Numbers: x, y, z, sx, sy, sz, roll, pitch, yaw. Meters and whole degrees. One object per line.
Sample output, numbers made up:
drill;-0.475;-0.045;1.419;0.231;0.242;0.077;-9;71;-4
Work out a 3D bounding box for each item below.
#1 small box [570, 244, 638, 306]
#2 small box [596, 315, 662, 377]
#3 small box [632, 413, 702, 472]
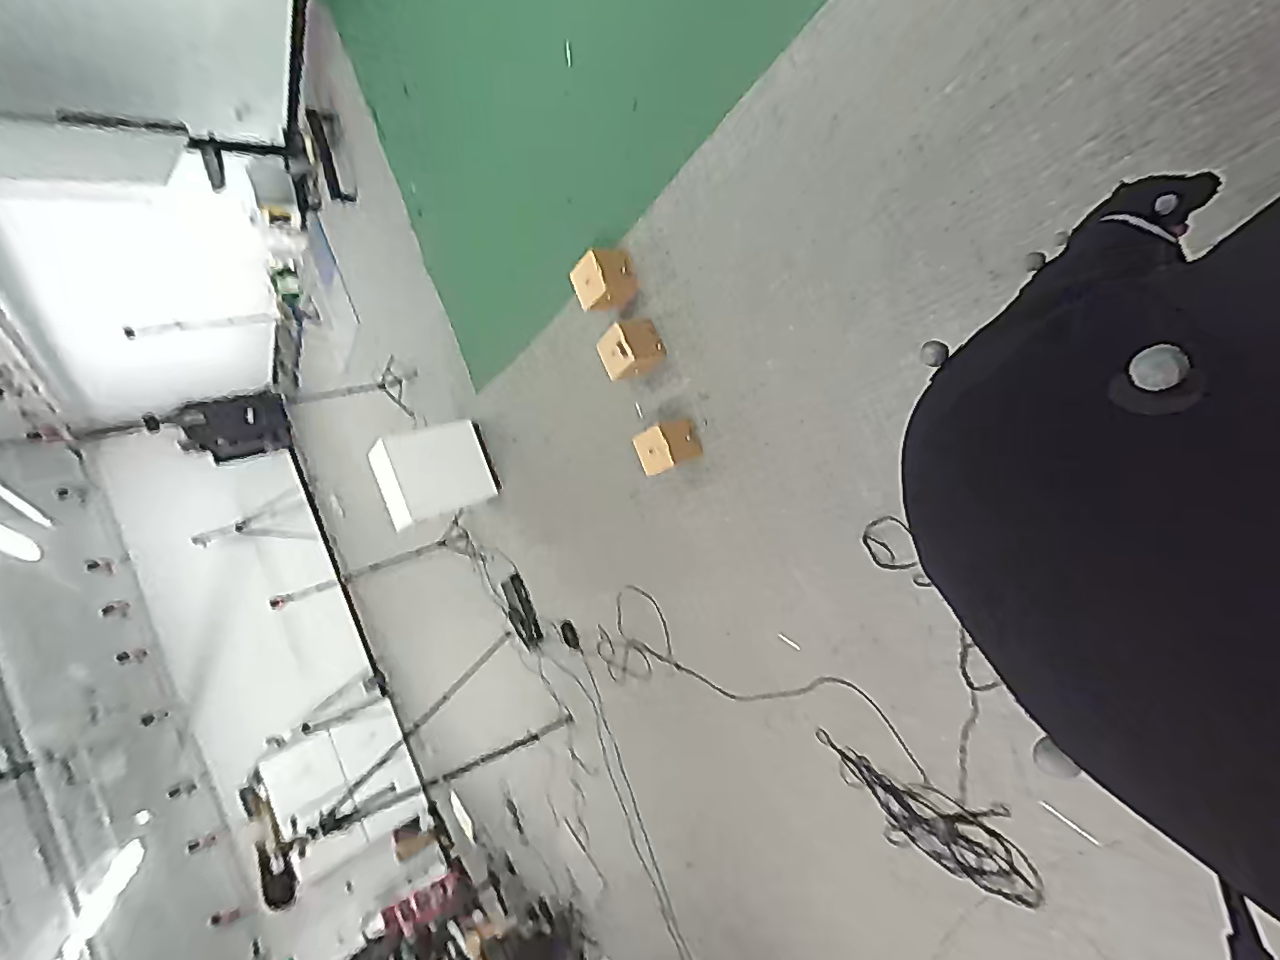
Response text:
small box;-0.138;-0.795;2.104;0.179;0.176;0.168;-25;86;51
small box;-0.035;-0.521;2.095;0.179;0.176;0.168;-31;80;51
small box;0.105;-0.144;2.084;0.179;0.176;0.168;-23;89;51
